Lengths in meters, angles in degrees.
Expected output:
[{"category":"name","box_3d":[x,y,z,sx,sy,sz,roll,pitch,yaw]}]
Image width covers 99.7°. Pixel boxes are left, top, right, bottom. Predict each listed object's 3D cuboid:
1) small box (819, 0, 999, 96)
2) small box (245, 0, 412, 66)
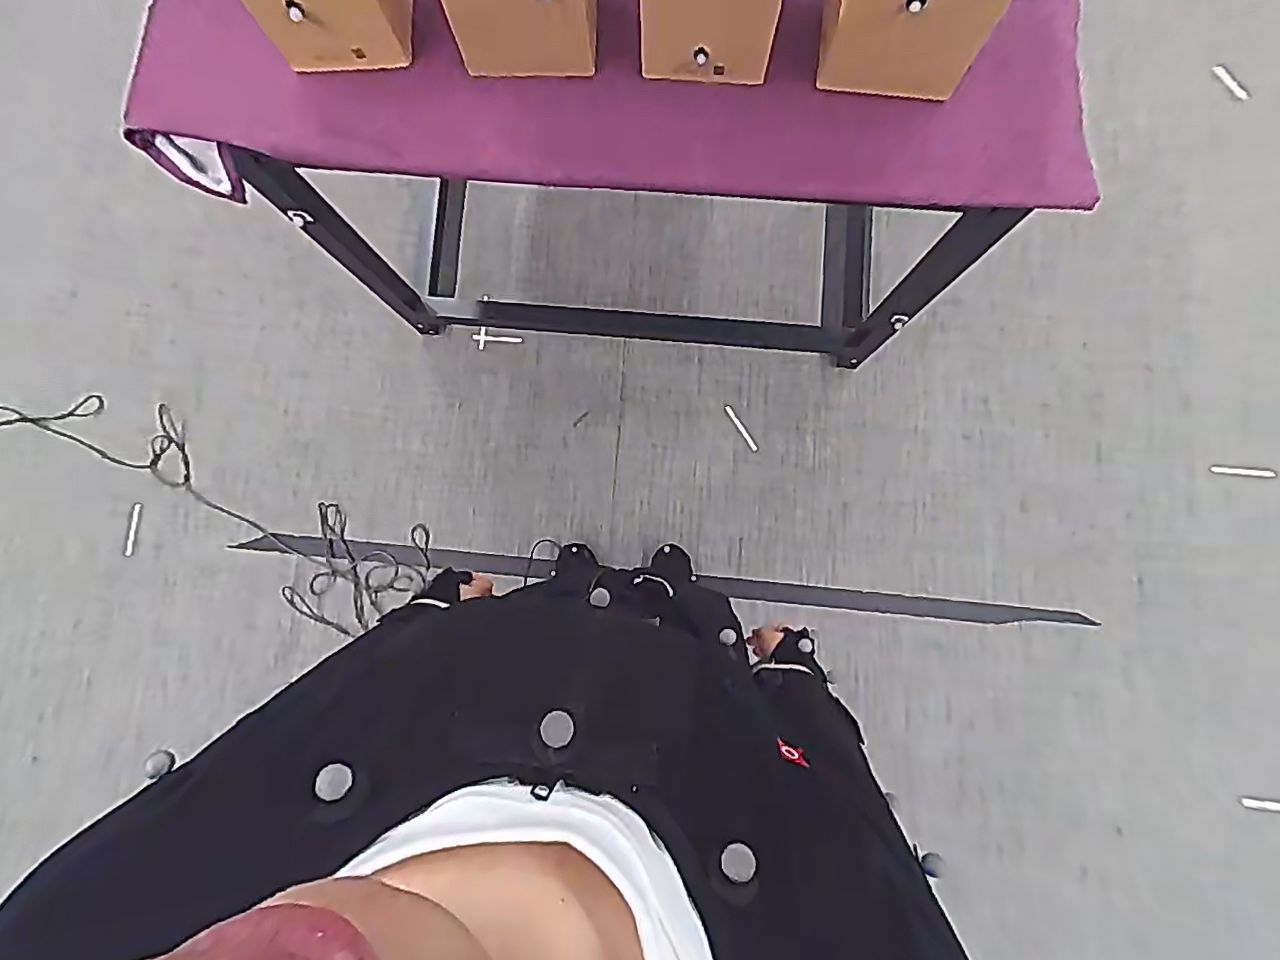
[{"category":"small box","box_3d":[0.330,-0.609,0.655,0.179,0.176,0.168,8,83,2]},{"category":"small box","box_3d":[-0.404,-0.665,0.685,0.168,0.176,0.179,-2,83,1]}]
